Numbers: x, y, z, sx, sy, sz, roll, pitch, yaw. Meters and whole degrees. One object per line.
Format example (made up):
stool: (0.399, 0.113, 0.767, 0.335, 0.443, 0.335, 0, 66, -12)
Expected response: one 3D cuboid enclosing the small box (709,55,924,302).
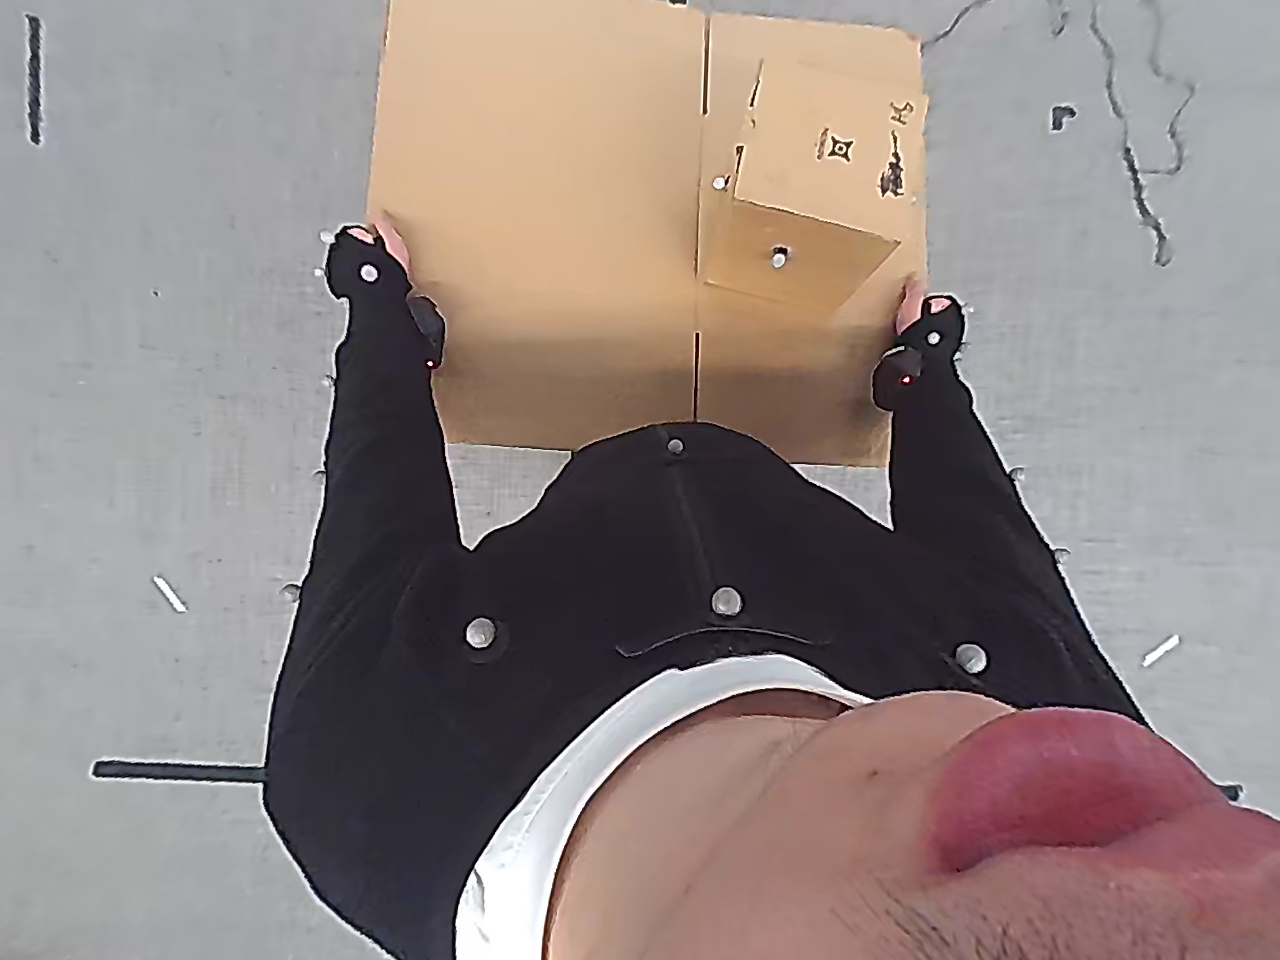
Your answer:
small box: (0.186, -0.327, 0.621, 0.179, 0.176, 0.168, 13, 83, -1)
